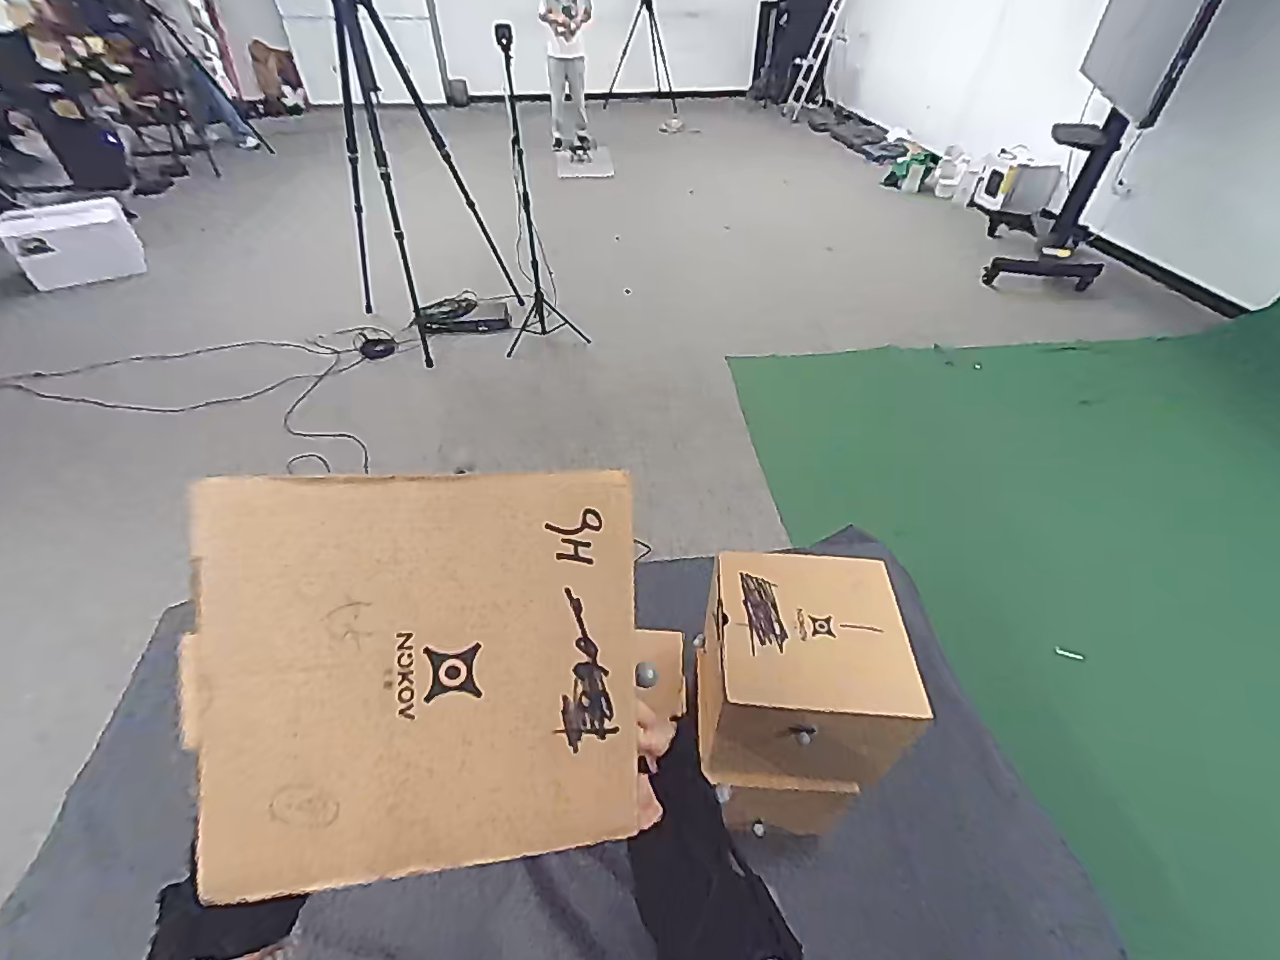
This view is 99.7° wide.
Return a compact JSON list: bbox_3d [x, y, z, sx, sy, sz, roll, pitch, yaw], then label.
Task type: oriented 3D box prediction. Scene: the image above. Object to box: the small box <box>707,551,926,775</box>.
[{"bbox_3d":[0.162,0.194,0.570,0.179,0.176,0.168,3,45,3],"label":"small box"}]
